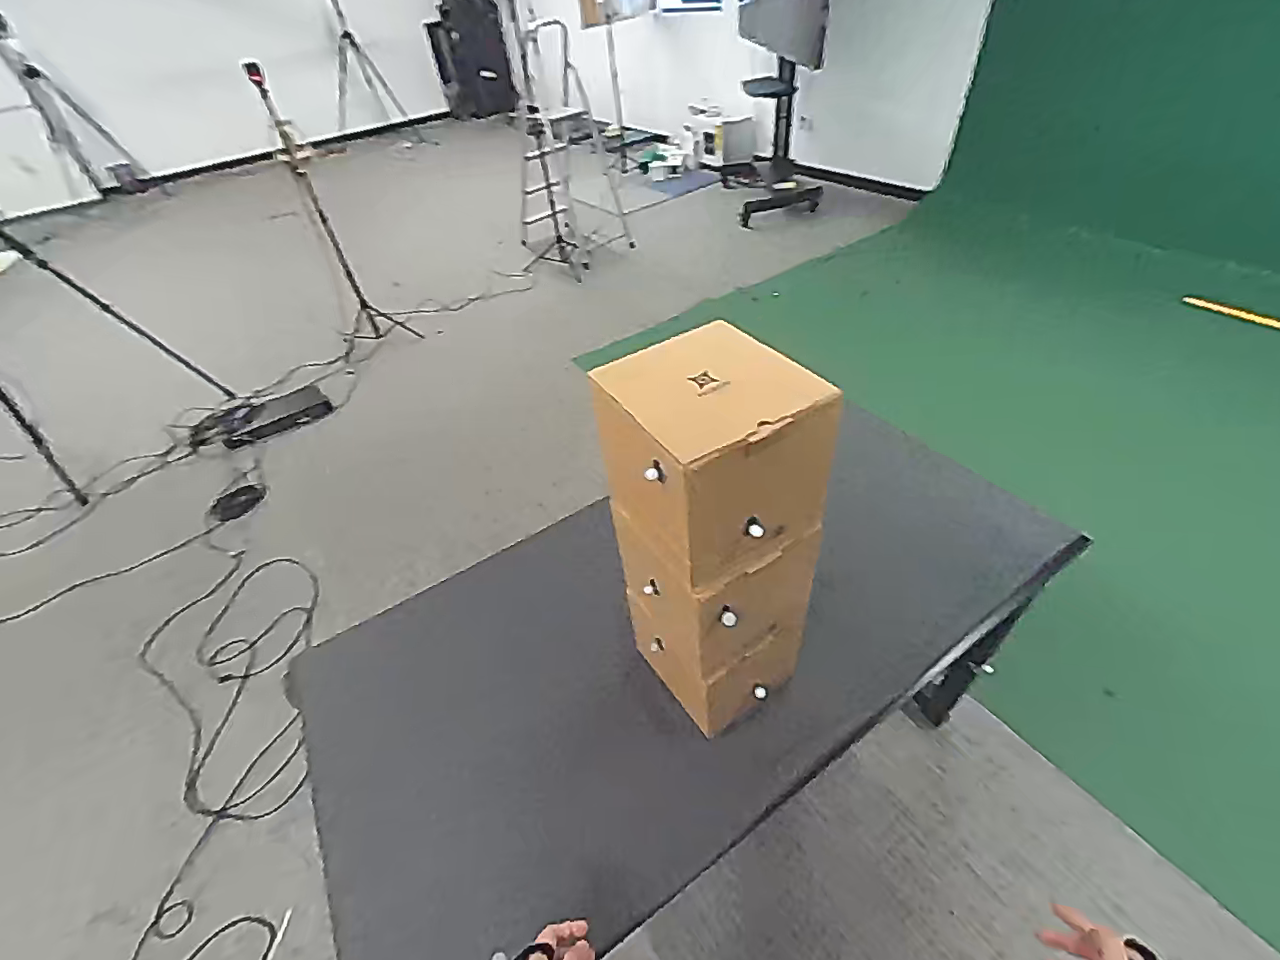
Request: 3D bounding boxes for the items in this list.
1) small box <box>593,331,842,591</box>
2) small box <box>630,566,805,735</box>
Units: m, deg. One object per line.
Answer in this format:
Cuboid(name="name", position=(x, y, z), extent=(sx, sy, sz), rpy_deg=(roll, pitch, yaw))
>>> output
Cuboid(name="small box", position=(0.070, -0.023, 0.551), extent=(0.168, 0.176, 0.179), rpy_deg=(-26, 46, -19))
Cuboid(name="small box", position=(0.105, 0.219, 0.768), extent=(0.168, 0.176, 0.179), rpy_deg=(-29, 48, -20))
